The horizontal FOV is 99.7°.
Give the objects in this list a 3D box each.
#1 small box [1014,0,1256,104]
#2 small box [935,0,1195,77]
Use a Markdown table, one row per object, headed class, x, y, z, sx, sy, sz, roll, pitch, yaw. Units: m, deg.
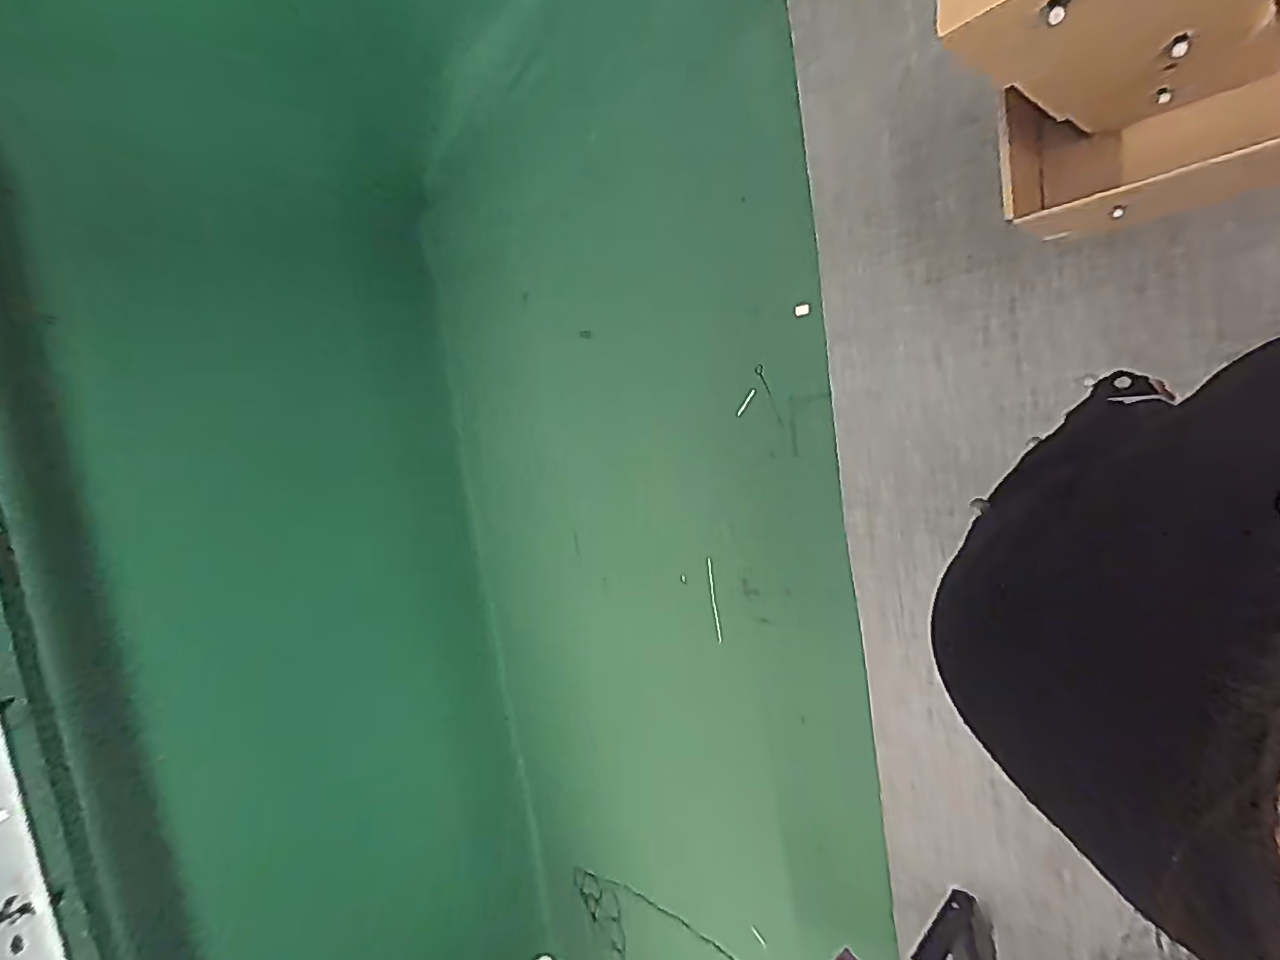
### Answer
| class | x | y | z | sx | sy | sz | roll | pitch | yaw |
| --- | --- | --- | --- | --- | --- | --- | --- | --- | --- |
| small box | 0.506 | -0.524 | 0.556 | 0.168 | 0.176 | 0.179 | 2 | 101 | 52 |
| small box | 0.378 | -0.487 | 0.459 | 0.179 | 0.176 | 0.168 | 6 | 106 | 51 |
